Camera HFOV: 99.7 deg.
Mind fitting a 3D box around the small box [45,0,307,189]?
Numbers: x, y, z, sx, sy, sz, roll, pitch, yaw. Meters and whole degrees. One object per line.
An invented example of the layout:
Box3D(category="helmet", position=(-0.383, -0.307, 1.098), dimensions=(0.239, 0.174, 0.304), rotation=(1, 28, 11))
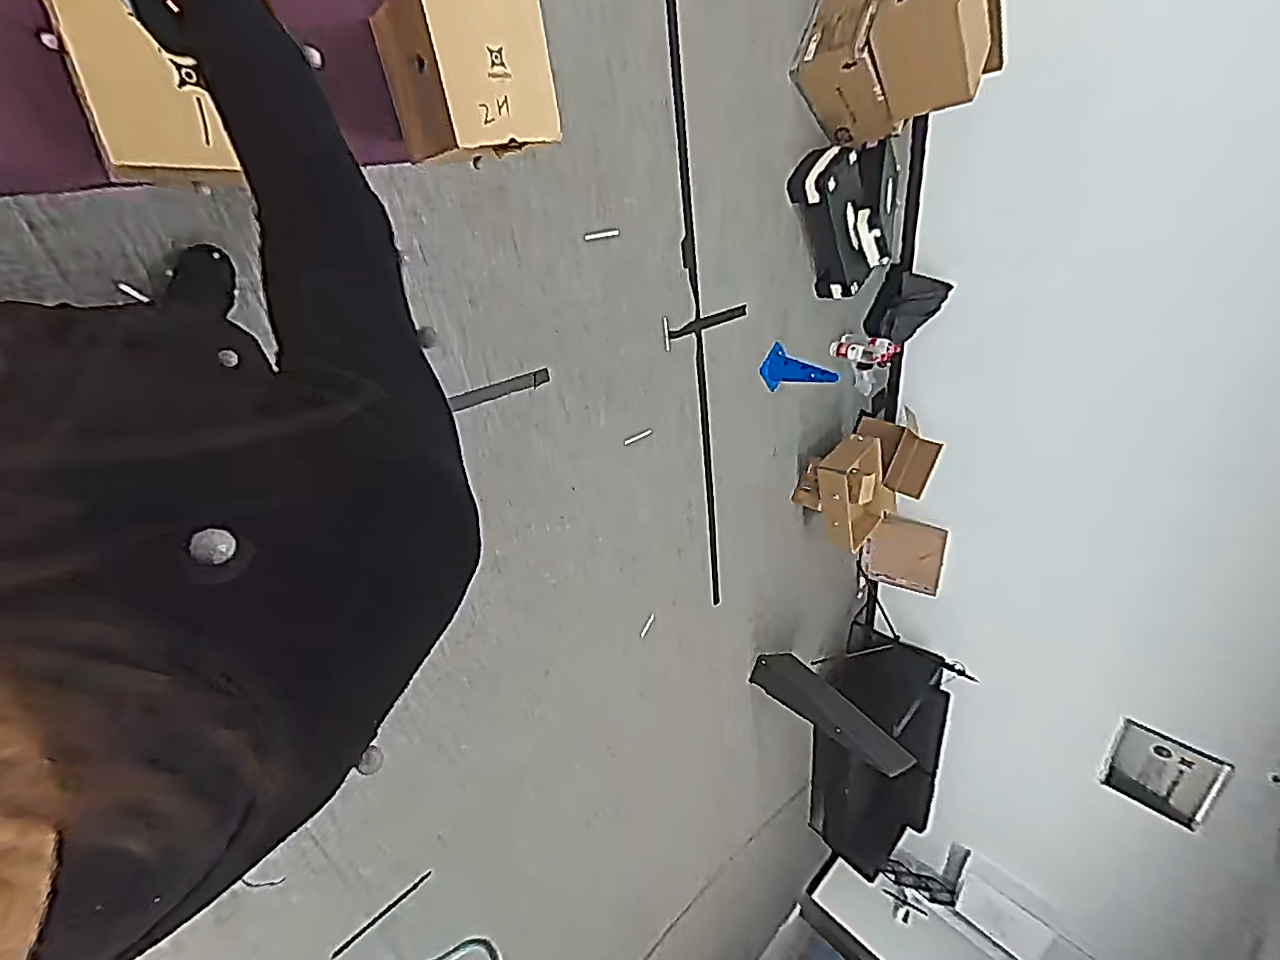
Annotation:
Box3D(category="small box", position=(-0.482, -0.414, 0.568), dimensions=(0.168, 0.176, 0.179), rotation=(-21, 122, -37))

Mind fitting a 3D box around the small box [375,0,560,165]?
Box3D(category="small box", position=(-0.238, -0.551, 0.747), dimensions=(0.168, 0.176, 0.179), rotation=(-28, 124, -32))
